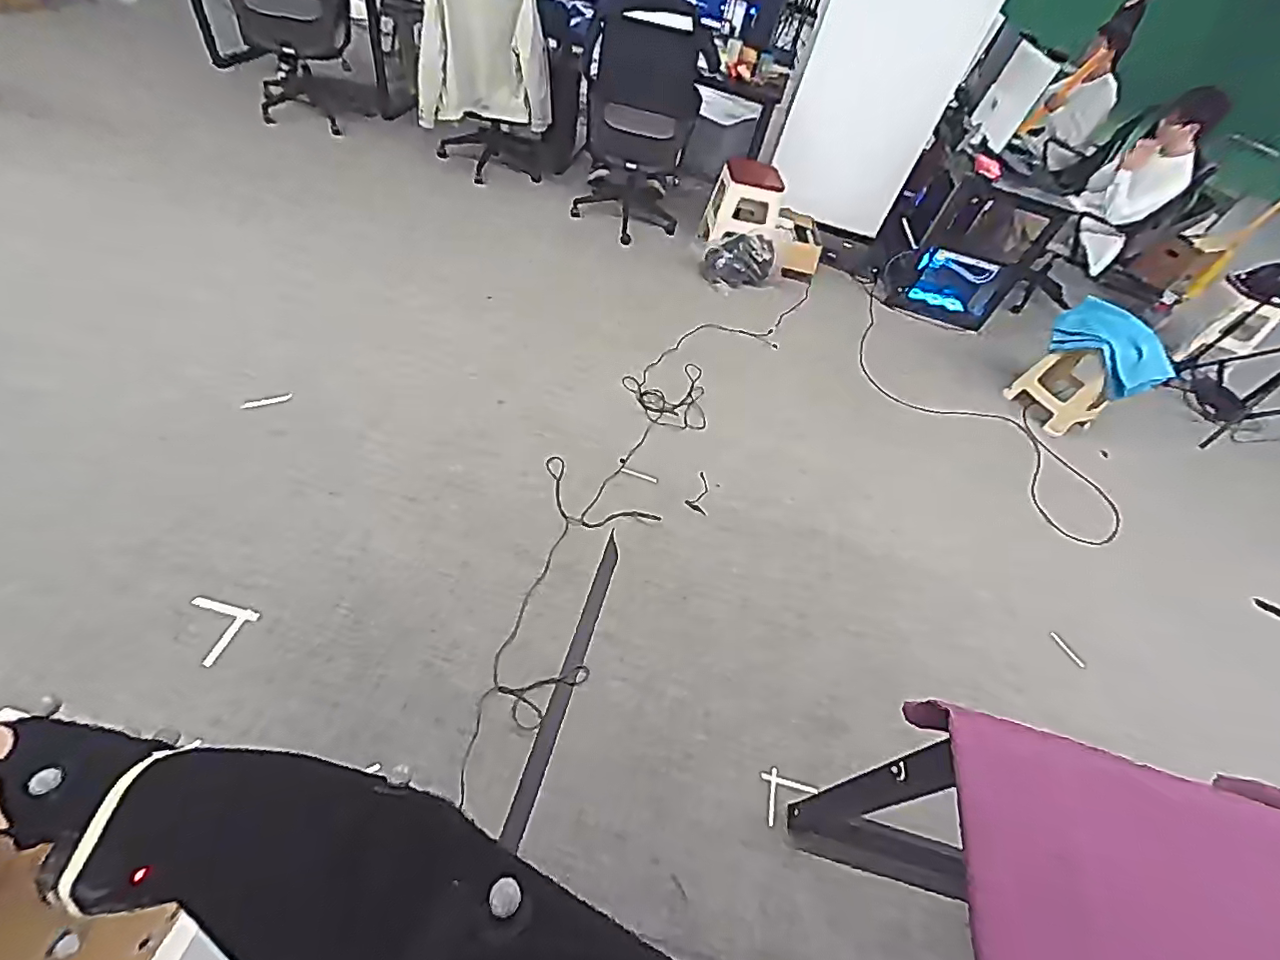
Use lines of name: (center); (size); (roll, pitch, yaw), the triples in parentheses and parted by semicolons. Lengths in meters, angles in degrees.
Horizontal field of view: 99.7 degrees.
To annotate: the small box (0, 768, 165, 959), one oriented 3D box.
small box: (-0.568, 0.344, 0.446); (0.179, 0.176, 0.168); (20, 49, 2)
